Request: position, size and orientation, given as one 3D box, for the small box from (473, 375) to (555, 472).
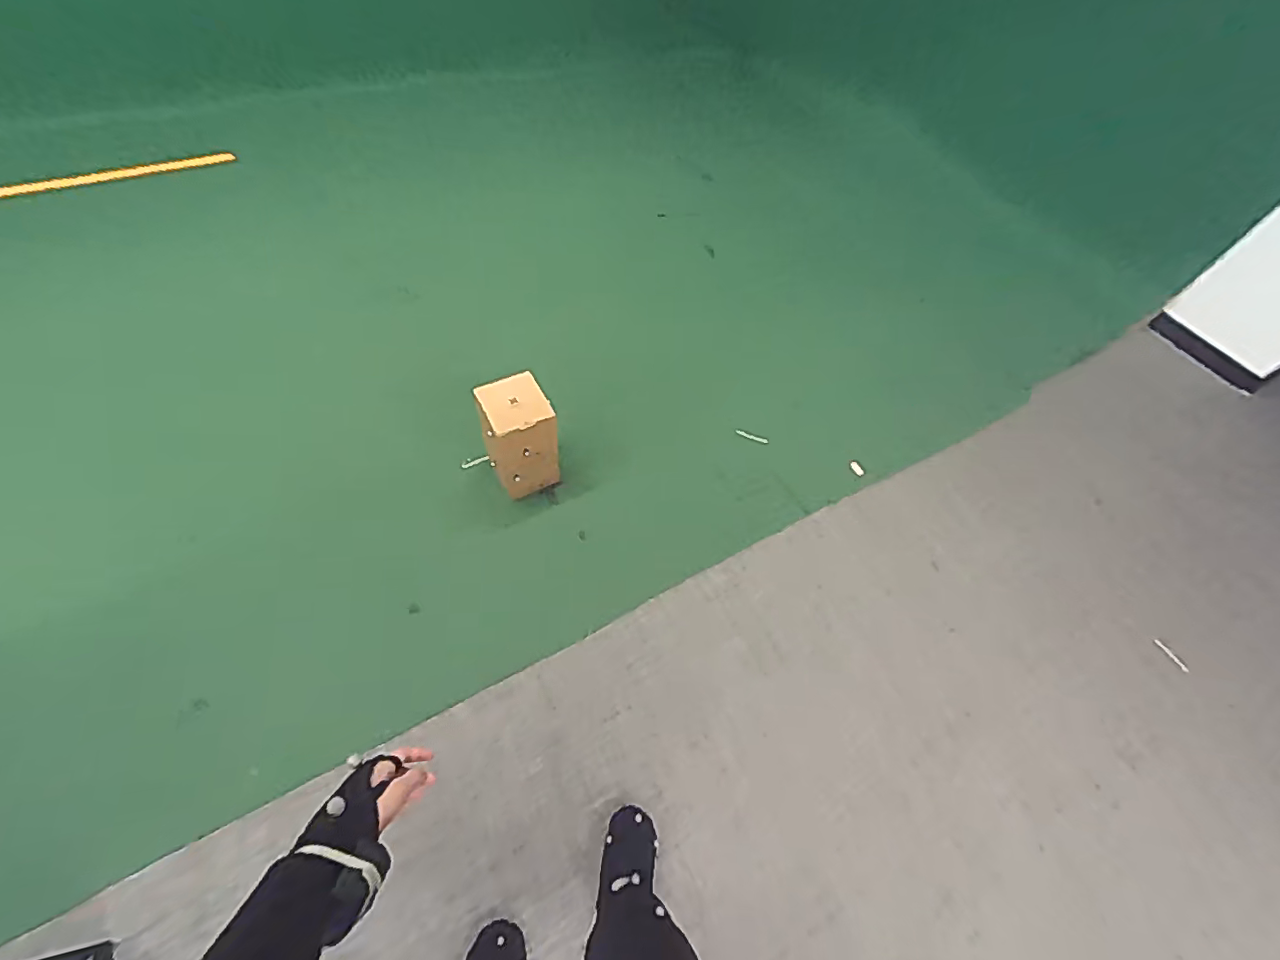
[{"bbox_3d":[-0.346,-0.155,1.496,0.168,0.176,0.179,-23,63,-22],"label":"small box"}]
